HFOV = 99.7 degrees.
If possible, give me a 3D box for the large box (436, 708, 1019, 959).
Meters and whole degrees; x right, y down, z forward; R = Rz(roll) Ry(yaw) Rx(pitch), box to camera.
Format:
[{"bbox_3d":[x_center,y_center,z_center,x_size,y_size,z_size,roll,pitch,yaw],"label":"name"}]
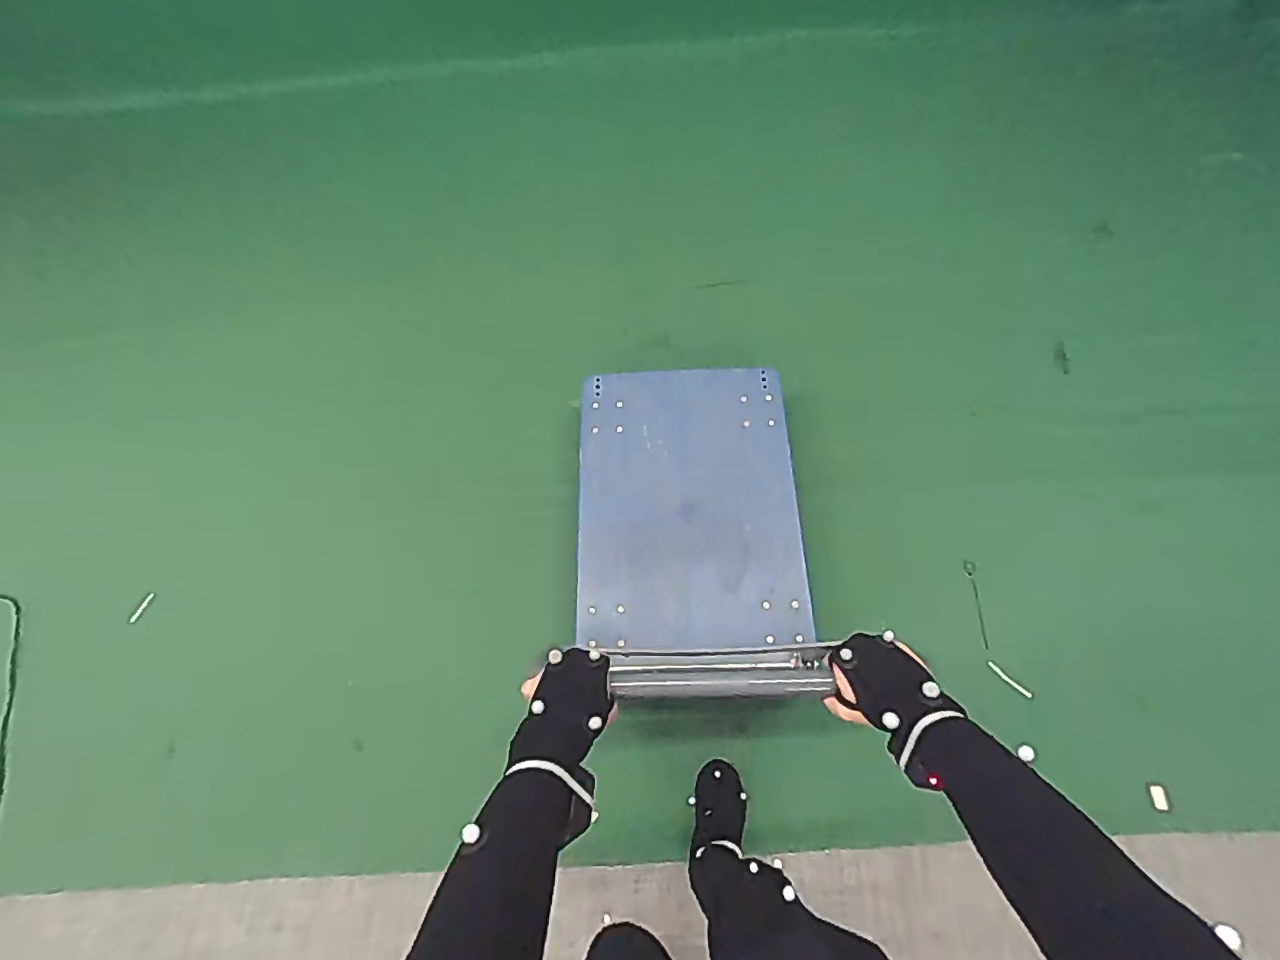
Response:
[{"bbox_3d":[0.053,0.347,0.110,0.408,0.320,0.320,31,106,6],"label":"large box"}]
